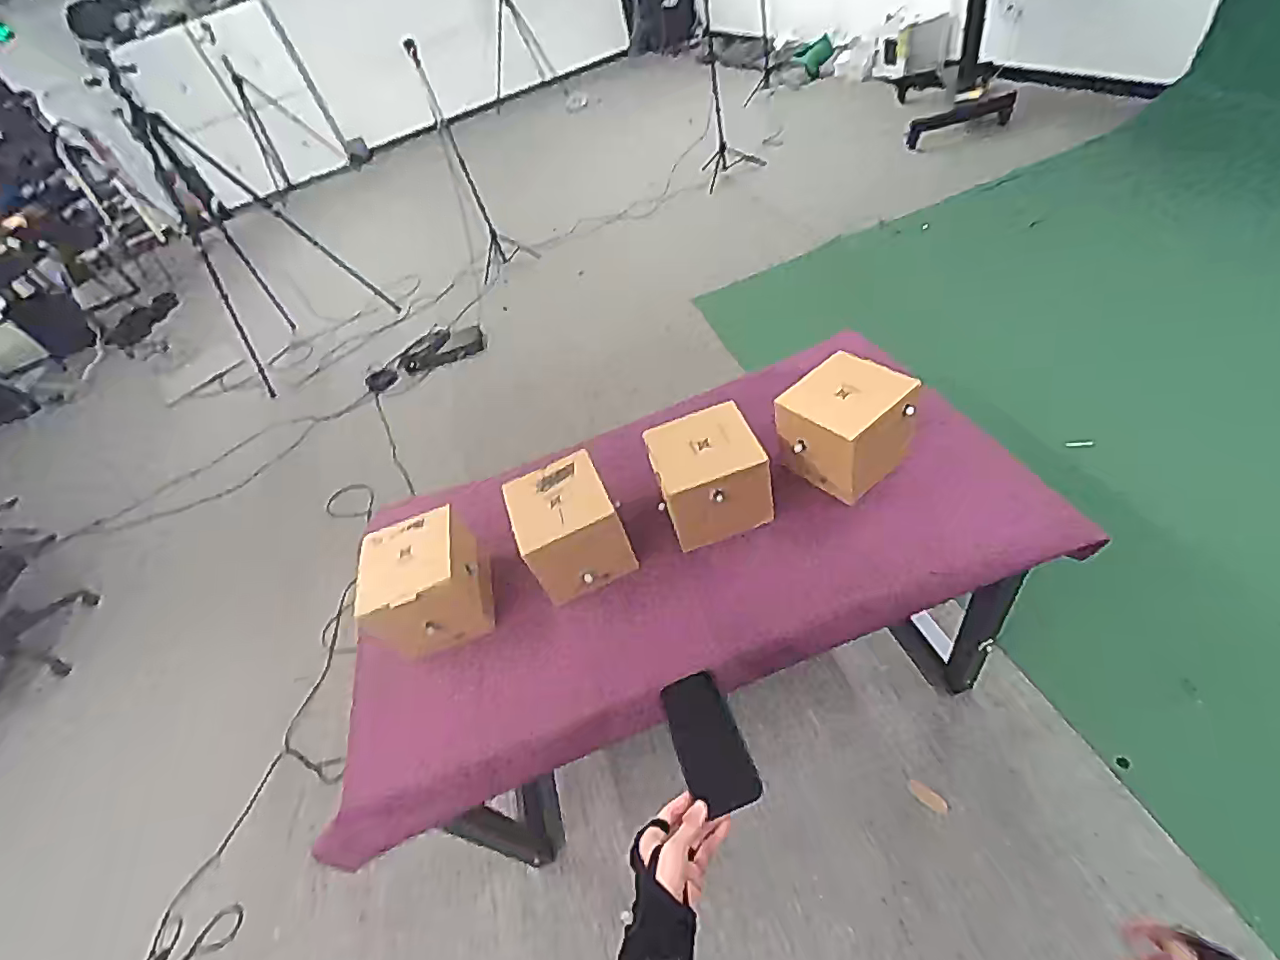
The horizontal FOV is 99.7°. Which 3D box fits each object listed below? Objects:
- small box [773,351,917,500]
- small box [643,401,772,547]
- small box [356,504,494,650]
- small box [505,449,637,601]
[{"bbox_3d":[0.365,-0.096,0.968,0.179,0.176,0.168,-37,47,-16],"label":"small box"},{"bbox_3d":[0.123,-0.007,0.968,0.179,0.176,0.168,-19,46,1],"label":"small box"},{"bbox_3d":[-0.372,0.180,0.962,0.168,0.176,0.179,-21,46,-1],"label":"small box"},{"bbox_3d":[-0.122,0.082,0.968,0.168,0.176,0.179,-25,46,-4],"label":"small box"}]
